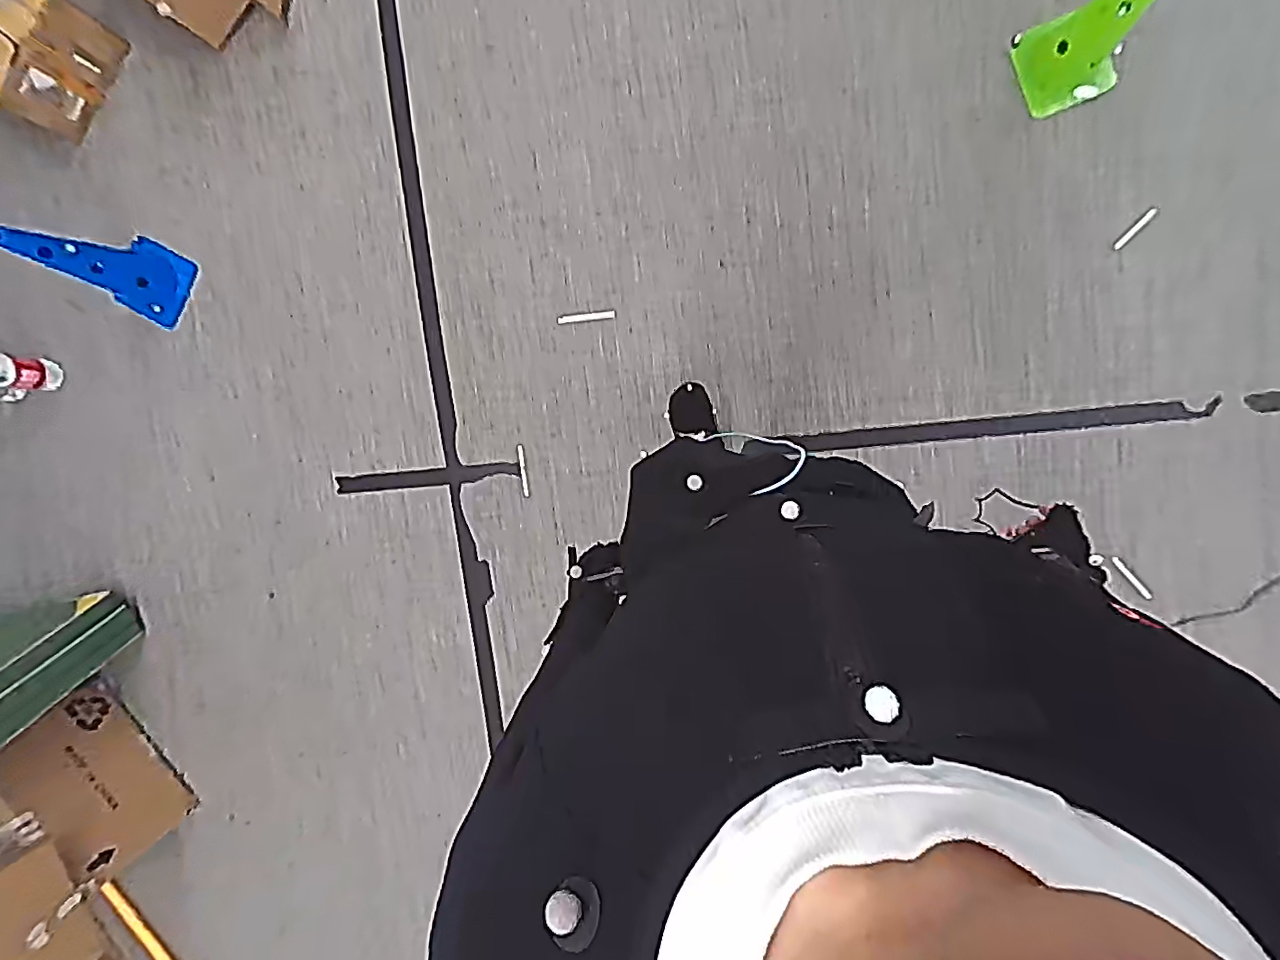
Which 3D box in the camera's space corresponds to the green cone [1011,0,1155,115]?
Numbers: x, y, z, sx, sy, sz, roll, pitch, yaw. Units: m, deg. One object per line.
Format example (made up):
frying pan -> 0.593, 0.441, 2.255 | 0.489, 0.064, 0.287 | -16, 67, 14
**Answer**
green cone -> 0.991, -0.975, 1.107 | 0.202, 0.368, 0.200 | -22, 93, 5
